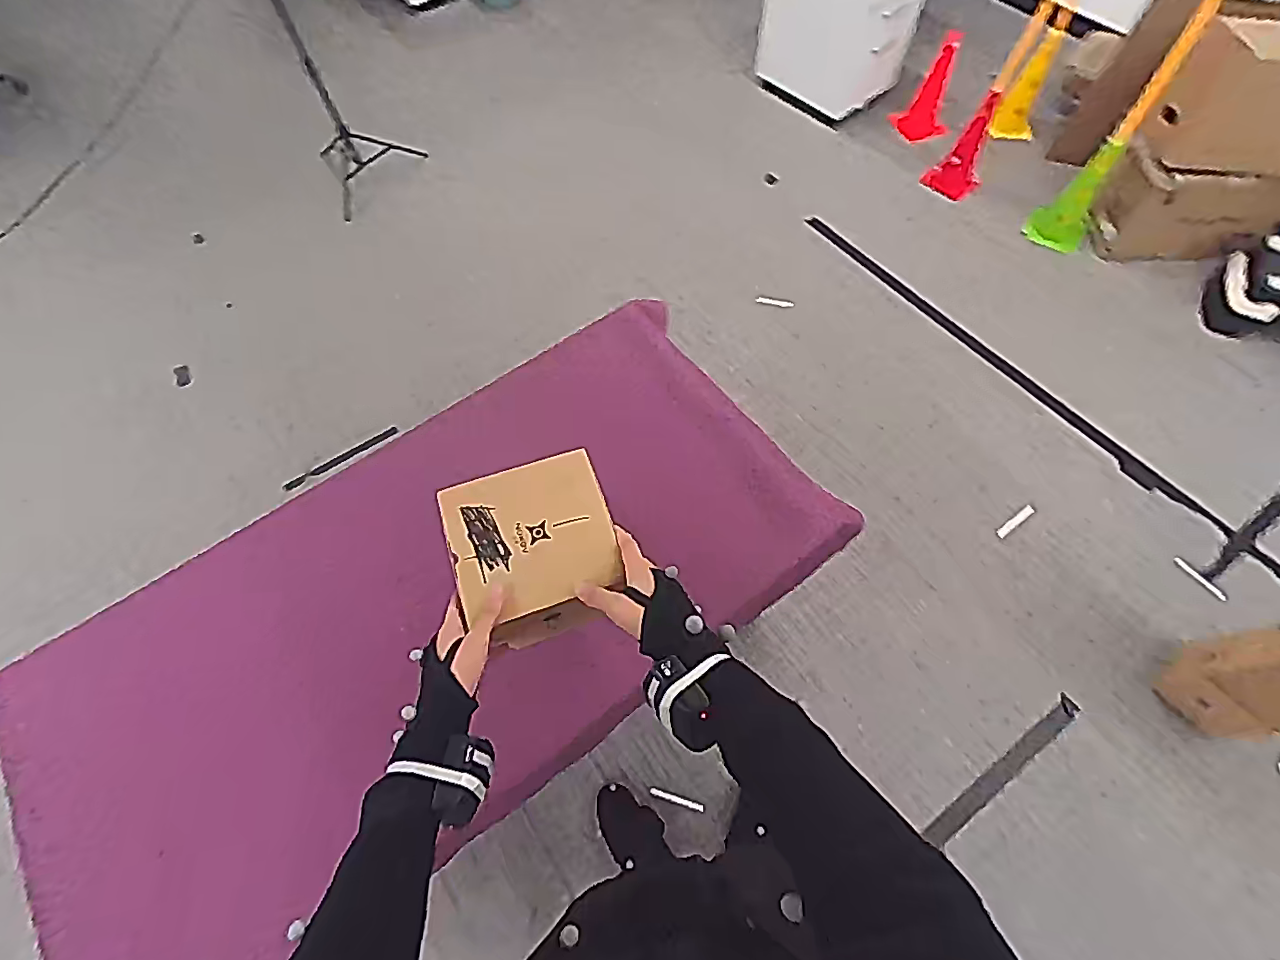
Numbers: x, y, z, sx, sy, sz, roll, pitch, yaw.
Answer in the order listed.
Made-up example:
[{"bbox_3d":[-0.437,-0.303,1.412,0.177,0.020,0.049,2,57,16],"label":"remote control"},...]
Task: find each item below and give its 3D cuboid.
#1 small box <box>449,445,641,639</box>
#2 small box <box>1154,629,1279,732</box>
[{"bbox_3d":[-0.108,0.085,0.666,0.179,0.176,0.168,-19,69,-4],"label":"small box"},{"bbox_3d":[1.446,0.501,1.339,0.179,0.176,0.168,-38,69,-15],"label":"small box"}]
